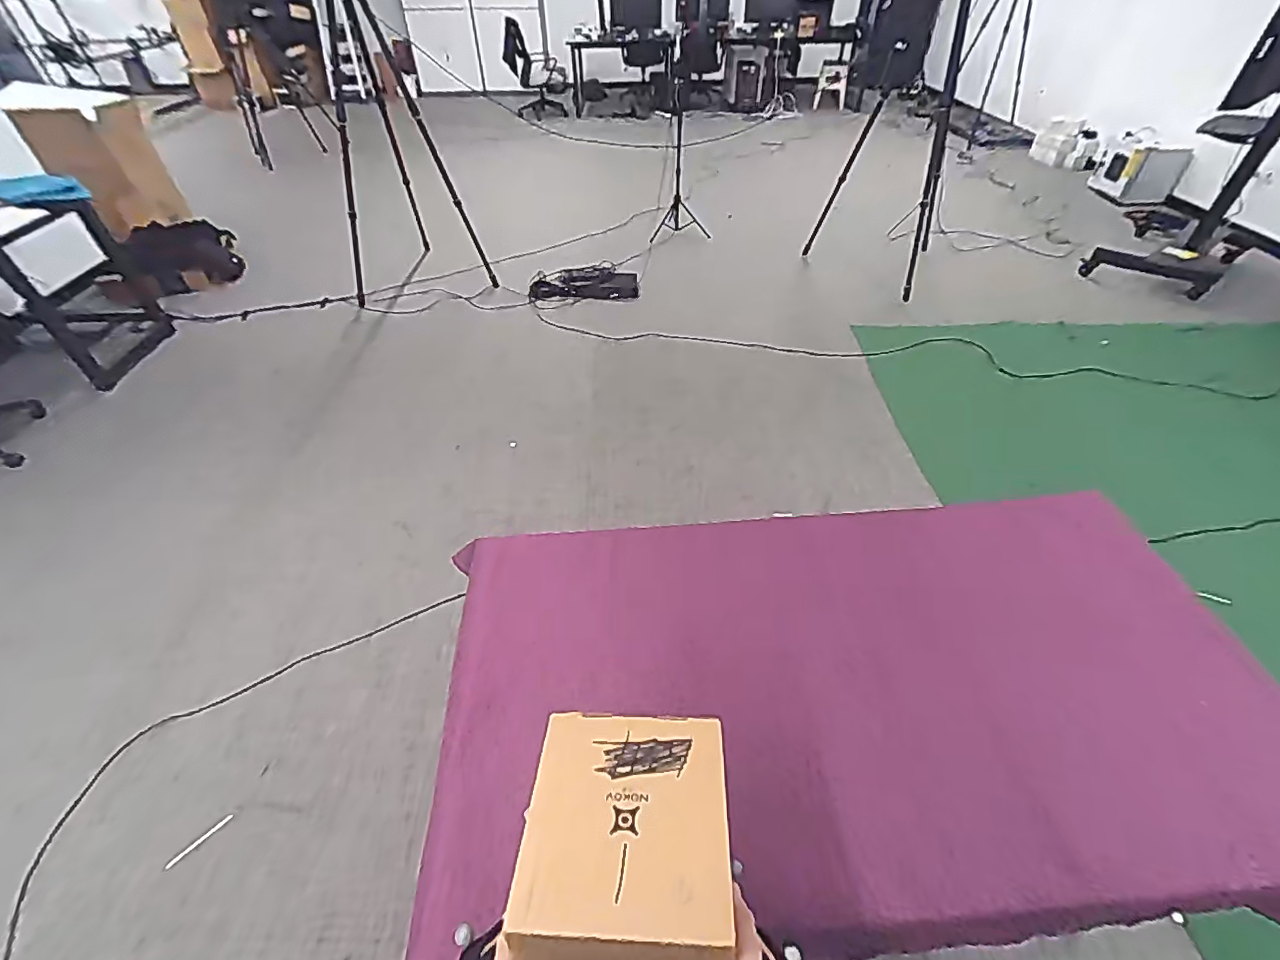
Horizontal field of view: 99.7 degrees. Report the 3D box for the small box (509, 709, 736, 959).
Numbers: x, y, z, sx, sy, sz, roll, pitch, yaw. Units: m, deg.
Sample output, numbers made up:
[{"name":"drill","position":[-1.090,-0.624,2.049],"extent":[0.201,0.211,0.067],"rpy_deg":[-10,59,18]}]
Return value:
[{"name":"small box","position":[-0.006,0.341,0.493],"extent":[0.168,0.176,0.179],"rpy_deg":[1,34,5]}]
